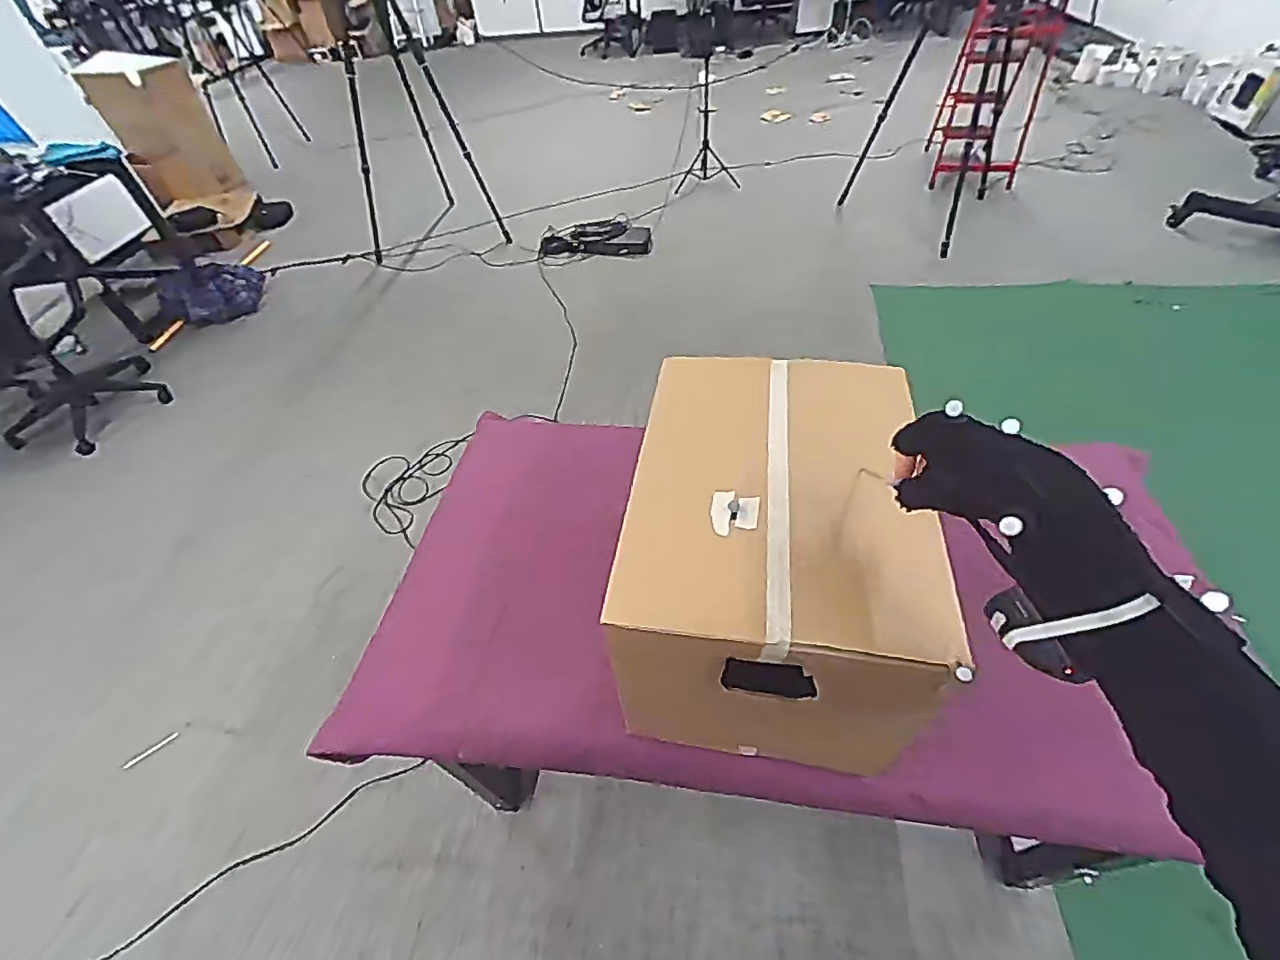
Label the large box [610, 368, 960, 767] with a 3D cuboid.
[{"bbox_3d":[0.160,0.103,0.716,0.320,0.320,0.408,5,49,10],"label":"large box"}]
